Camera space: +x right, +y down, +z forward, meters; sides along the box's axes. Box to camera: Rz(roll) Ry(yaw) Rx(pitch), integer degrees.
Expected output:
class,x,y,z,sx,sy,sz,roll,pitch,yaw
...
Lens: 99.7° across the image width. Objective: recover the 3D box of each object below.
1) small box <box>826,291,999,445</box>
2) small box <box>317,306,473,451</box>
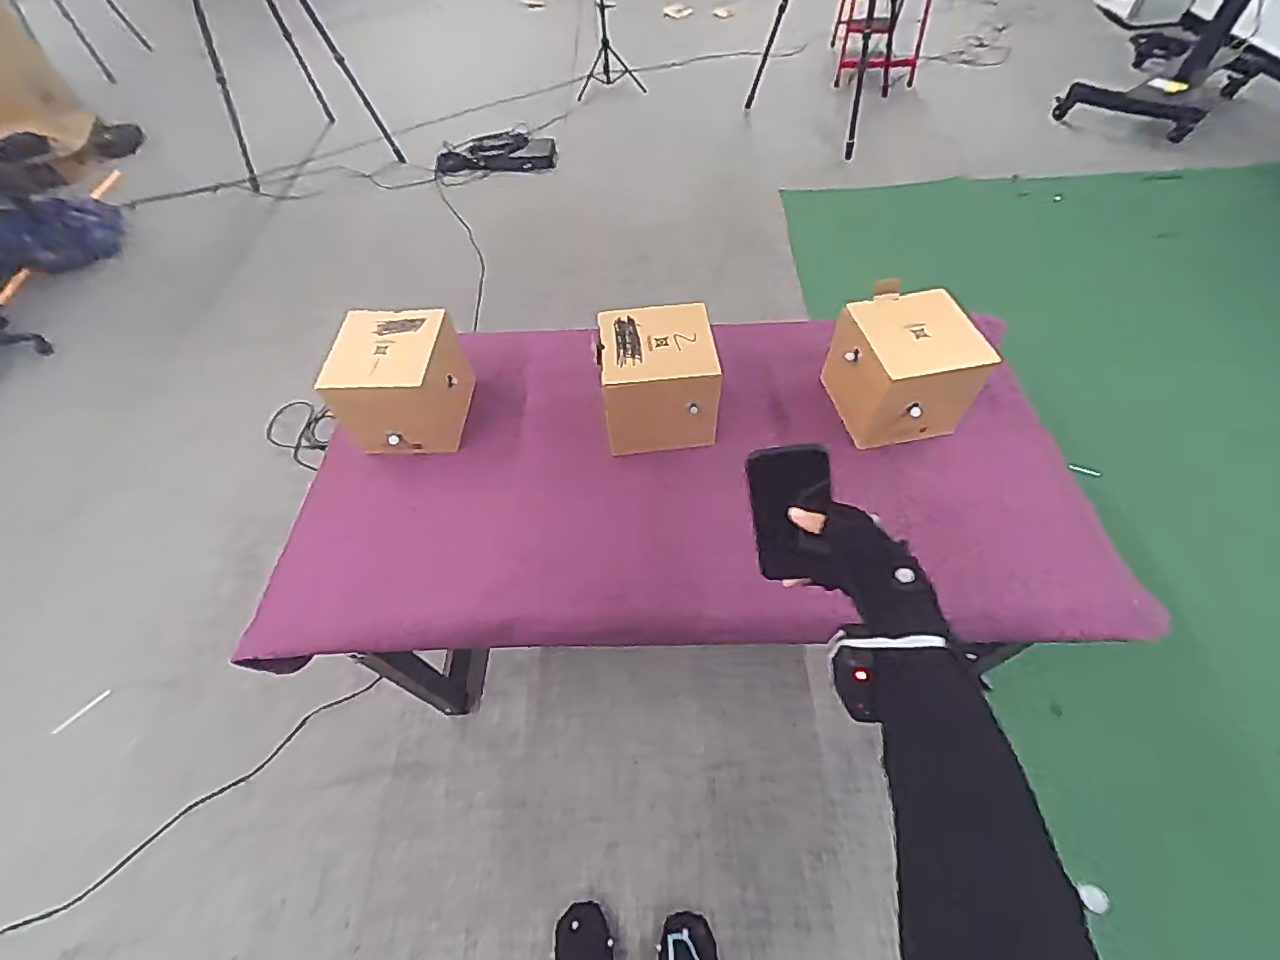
class,x,y,z,sx,sy,sz,roll,pitch,yaw
small box,0.421,-0.172,0.871,0.168,0.176,0.179,-10,55,-3
small box,-0.392,-0.168,0.906,0.168,0.176,0.179,0,57,3
